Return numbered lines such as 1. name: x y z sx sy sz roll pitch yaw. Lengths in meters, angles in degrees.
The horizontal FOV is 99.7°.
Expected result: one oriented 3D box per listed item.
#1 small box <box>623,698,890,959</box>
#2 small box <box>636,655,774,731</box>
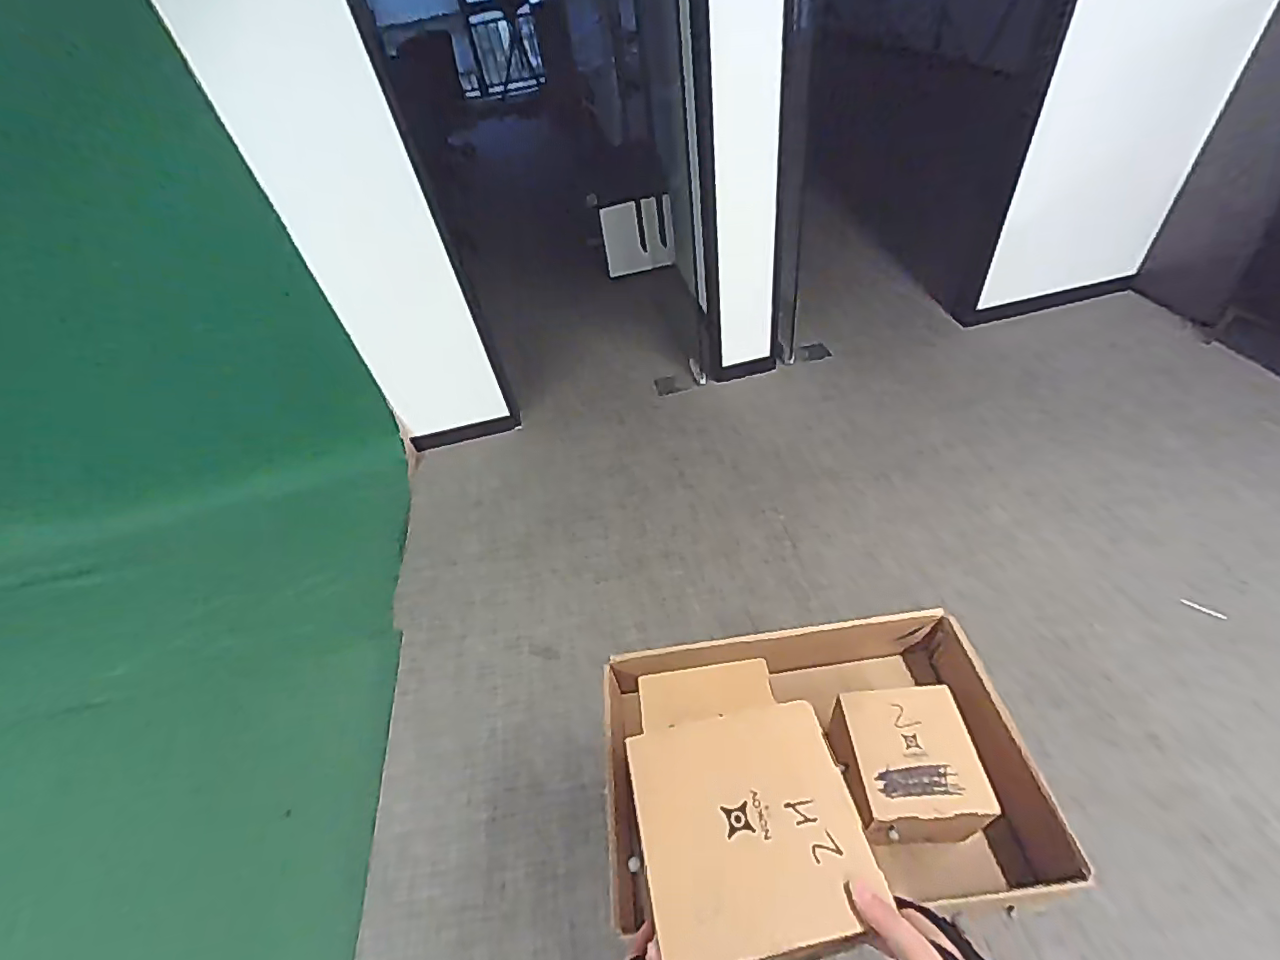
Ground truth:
1. small box: 0.087 0.327 0.491 0.179 0.176 0.168 -9 45 -6
2. small box: 0.097 0.362 0.735 0.179 0.176 0.168 -8 46 0
